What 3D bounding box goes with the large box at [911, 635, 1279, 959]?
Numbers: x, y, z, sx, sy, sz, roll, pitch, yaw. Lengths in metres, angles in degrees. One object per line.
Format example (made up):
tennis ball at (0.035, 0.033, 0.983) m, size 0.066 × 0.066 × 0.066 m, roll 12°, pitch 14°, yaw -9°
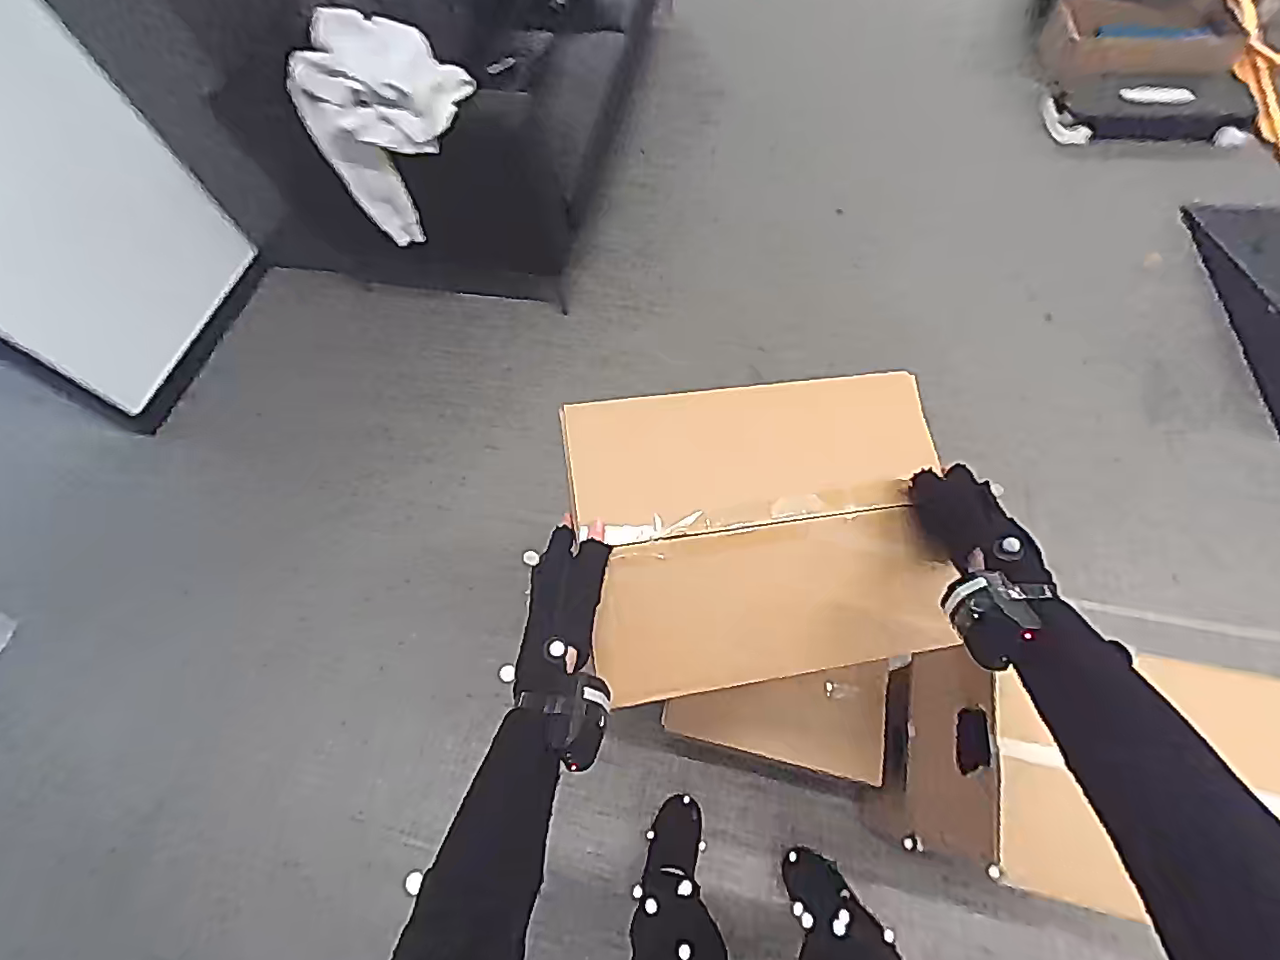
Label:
large box at (0.665, 0.436, 0.794) m, size 0.408 × 0.320 × 0.320 m, roll 9°, pitch 68°, yaw 11°
